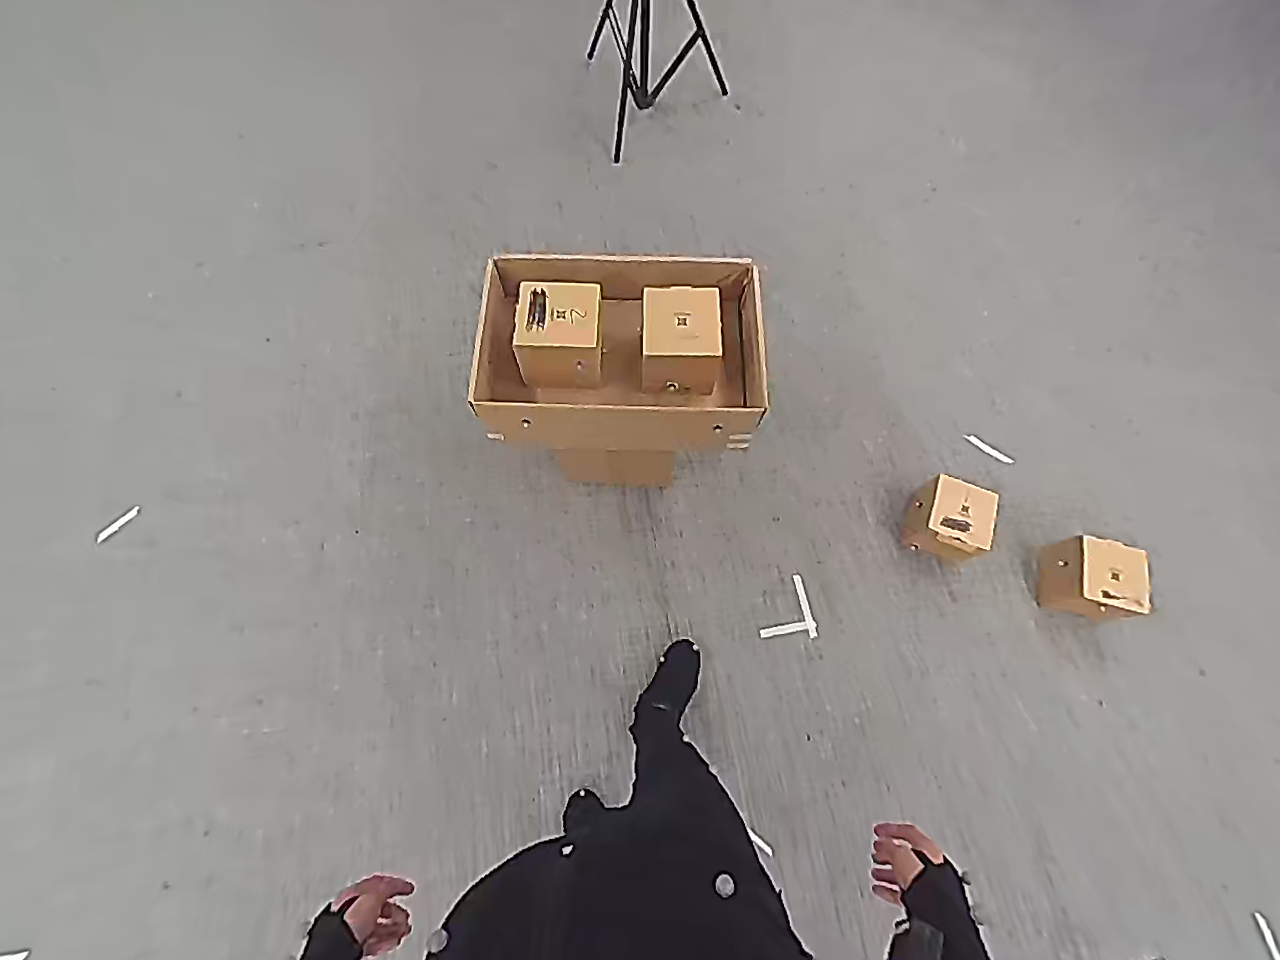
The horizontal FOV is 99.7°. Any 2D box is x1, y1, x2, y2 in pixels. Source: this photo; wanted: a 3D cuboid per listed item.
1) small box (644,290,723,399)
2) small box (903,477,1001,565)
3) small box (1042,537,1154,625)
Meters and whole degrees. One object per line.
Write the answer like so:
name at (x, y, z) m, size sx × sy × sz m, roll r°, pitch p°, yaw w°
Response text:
small box at (0.092, -0.302, 1.221) m, size 0.168 × 0.176 × 0.179 m, roll 0°, pitch 68°, yaw 1°
small box at (0.867, 0.122, 1.516) m, size 0.168 × 0.176 × 0.179 m, roll 22°, pitch 70°, yaw 7°
small box at (1.226, 0.278, 1.460) m, size 0.168 × 0.176 × 0.179 m, roll 15°, pitch 69°, yaw 5°
